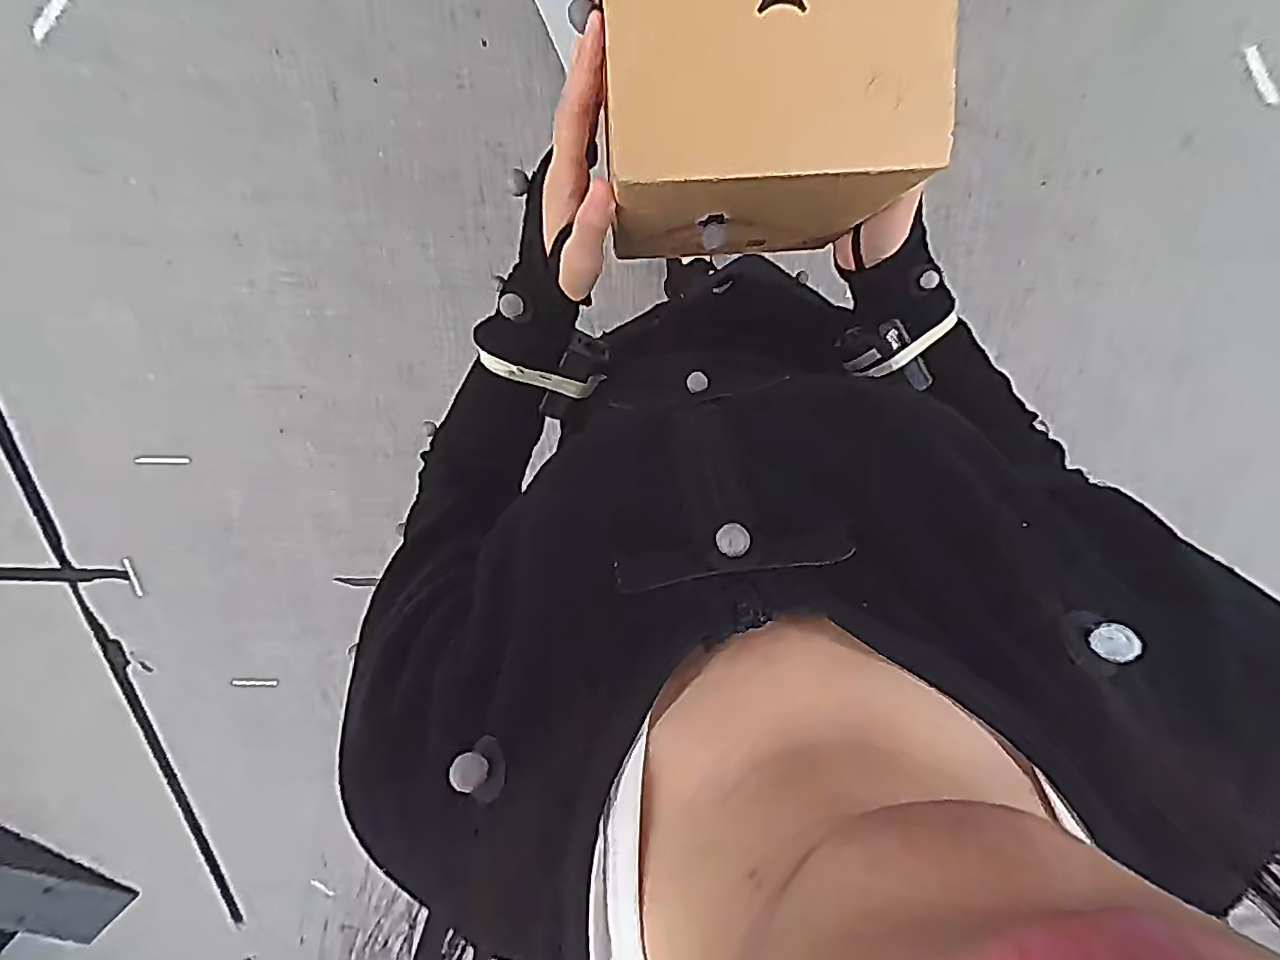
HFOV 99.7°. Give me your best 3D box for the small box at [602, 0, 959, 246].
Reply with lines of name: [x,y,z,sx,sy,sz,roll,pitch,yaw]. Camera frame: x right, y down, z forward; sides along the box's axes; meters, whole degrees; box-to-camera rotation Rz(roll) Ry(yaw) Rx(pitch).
small box: [0.062,-0.249,0.324,0.168,0.176,0.179,-4,99,-2]
